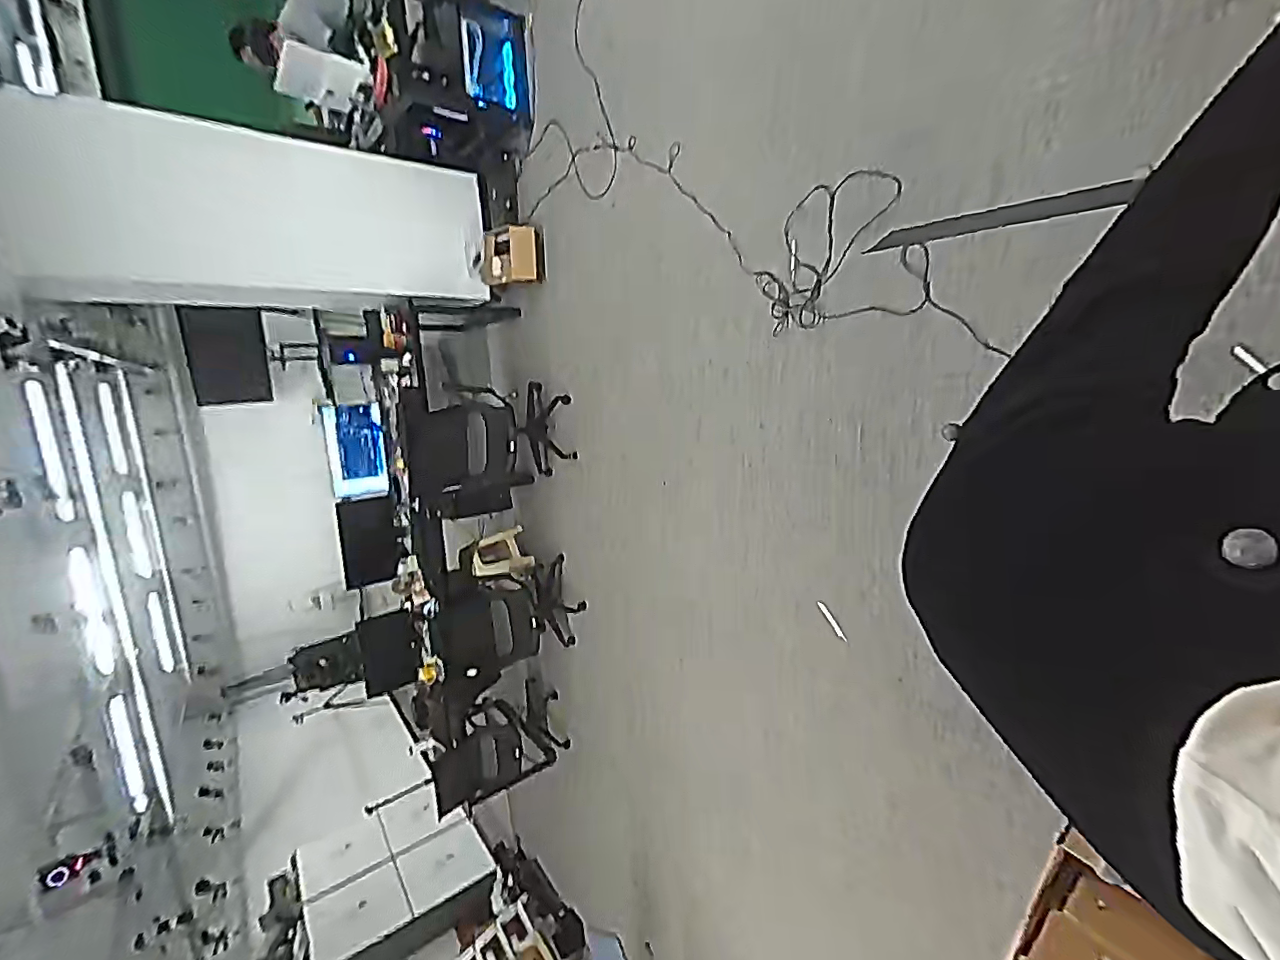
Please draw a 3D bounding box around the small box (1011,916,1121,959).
[{"bbox_3d":[0.760,0.919,0.942,0.179,0.176,0.168,24,119,50],"label":"small box"}]
